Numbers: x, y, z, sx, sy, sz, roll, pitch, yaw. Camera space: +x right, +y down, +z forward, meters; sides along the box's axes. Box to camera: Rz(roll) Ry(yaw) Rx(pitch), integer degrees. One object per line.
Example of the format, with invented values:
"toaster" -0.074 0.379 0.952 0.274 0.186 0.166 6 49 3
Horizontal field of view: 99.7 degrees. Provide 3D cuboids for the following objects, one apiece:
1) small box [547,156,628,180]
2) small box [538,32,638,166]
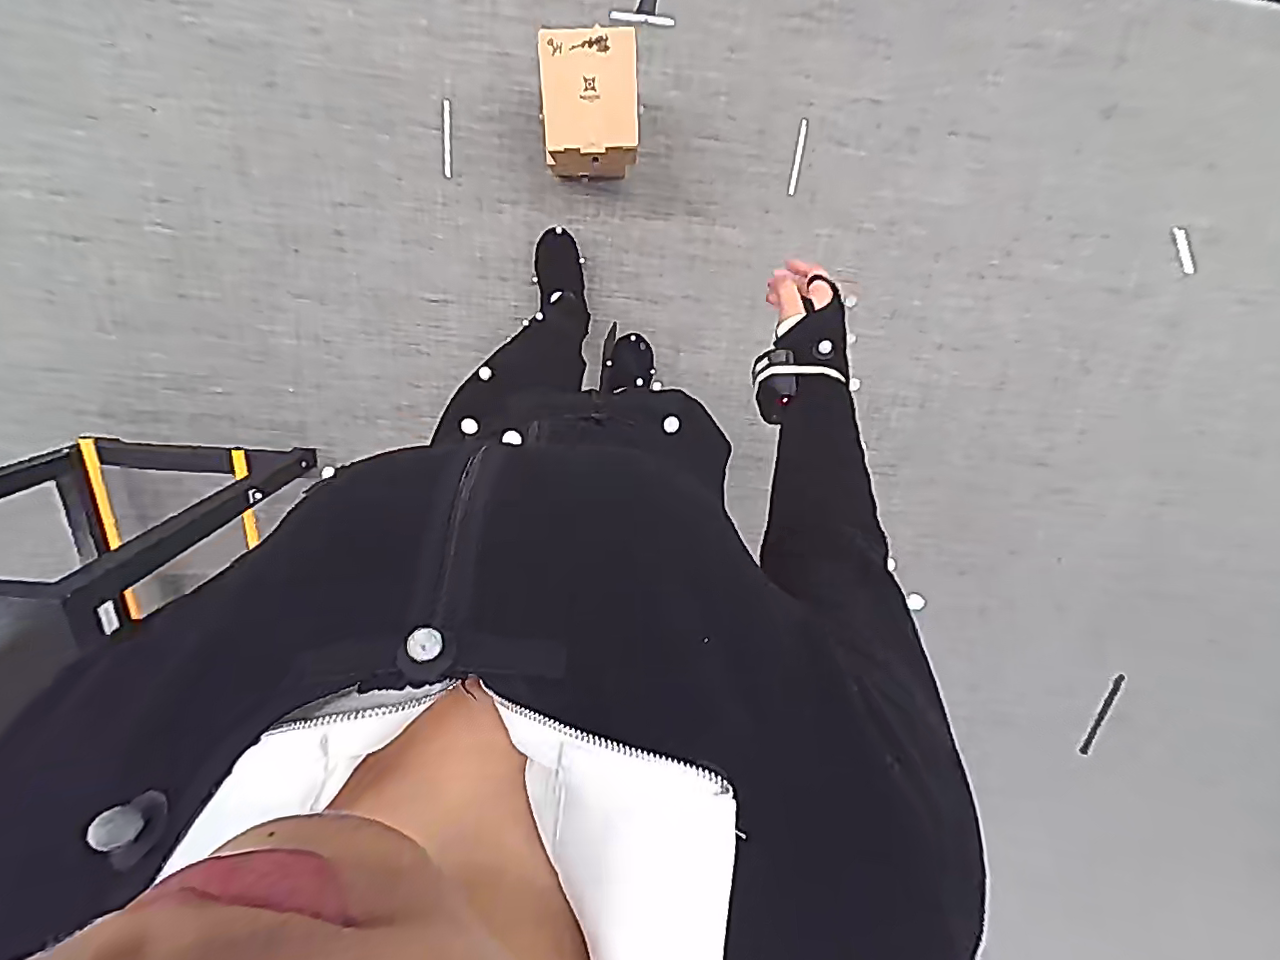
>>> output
"small box" -0.109 -0.748 1.147 0.168 0.176 0.179 -1 113 0
"small box" -0.087 -0.686 0.996 0.168 0.176 0.179 -2 112 0
